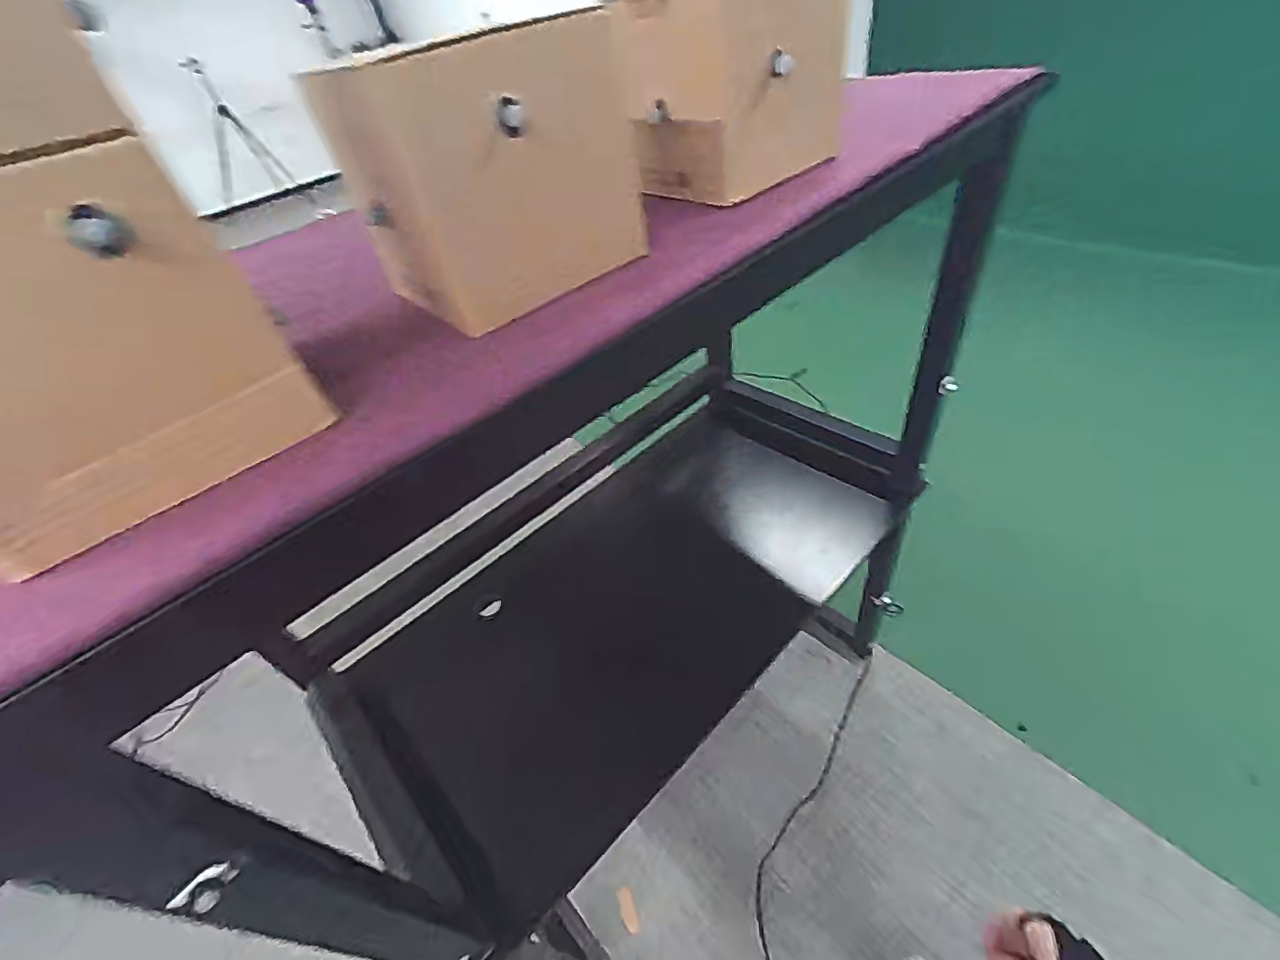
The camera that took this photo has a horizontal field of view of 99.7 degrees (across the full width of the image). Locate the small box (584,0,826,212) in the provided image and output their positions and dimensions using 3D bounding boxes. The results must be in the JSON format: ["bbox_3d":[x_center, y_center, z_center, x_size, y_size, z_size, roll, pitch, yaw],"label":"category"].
[{"bbox_3d":[0.074,-0.393,0.549,0.179,0.176,0.168,-36,47,-22],"label":"small box"}]

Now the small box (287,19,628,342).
[{"bbox_3d":[-0.132,-0.234,0.434,0.179,0.176,0.168,-36,47,-23],"label":"small box"}]

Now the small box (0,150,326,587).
[{"bbox_3d":[-0.329,-0.072,0.315,0.179,0.176,0.168,-36,47,-24],"label":"small box"}]
